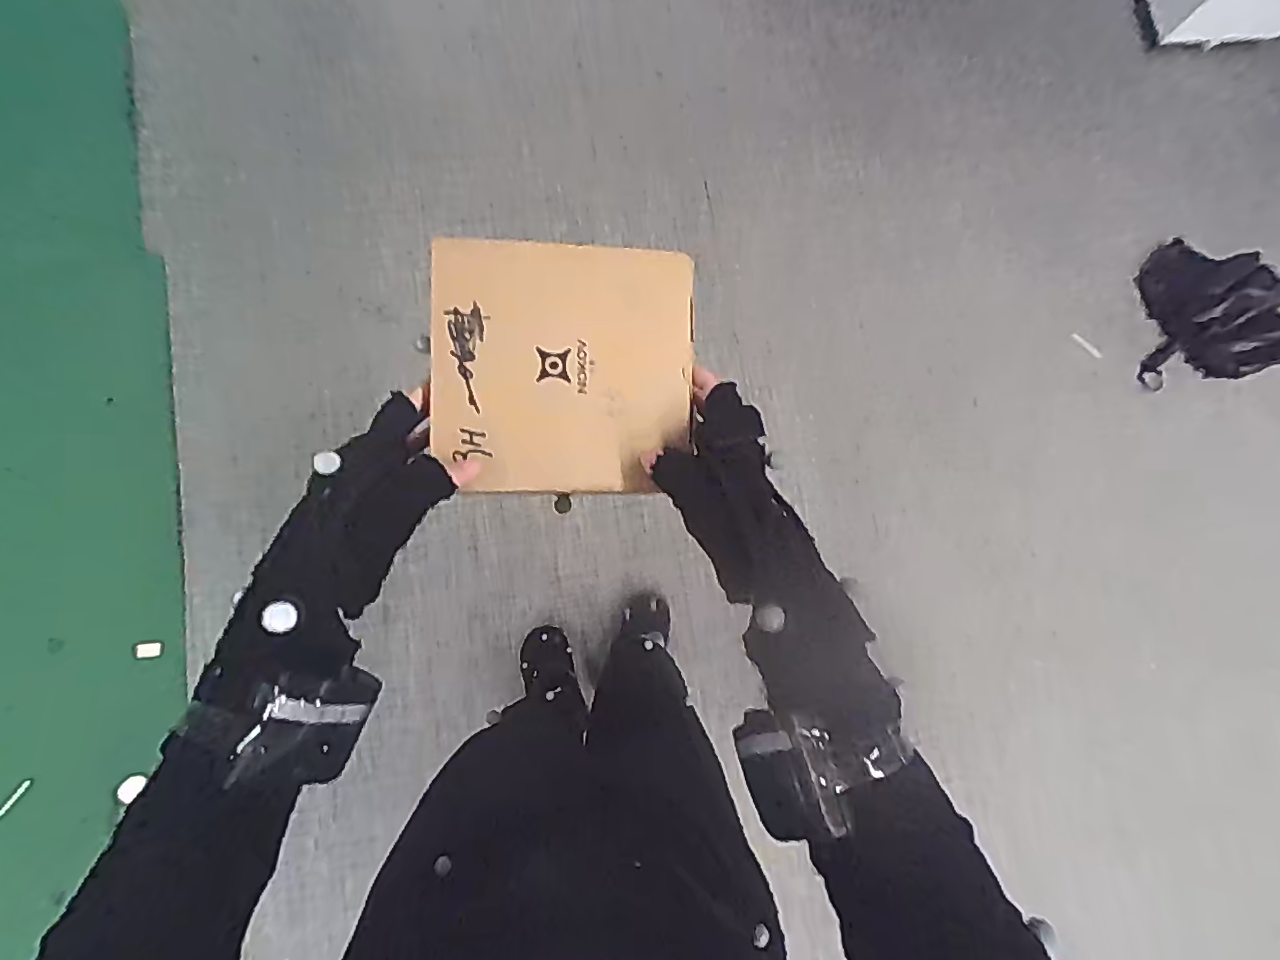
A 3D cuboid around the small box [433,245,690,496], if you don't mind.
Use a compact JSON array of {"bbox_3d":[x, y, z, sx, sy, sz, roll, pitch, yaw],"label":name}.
[{"bbox_3d":[-0.064,-0.072,0.450,0.179,0.176,0.168,0,87,-9],"label":"small box"}]
